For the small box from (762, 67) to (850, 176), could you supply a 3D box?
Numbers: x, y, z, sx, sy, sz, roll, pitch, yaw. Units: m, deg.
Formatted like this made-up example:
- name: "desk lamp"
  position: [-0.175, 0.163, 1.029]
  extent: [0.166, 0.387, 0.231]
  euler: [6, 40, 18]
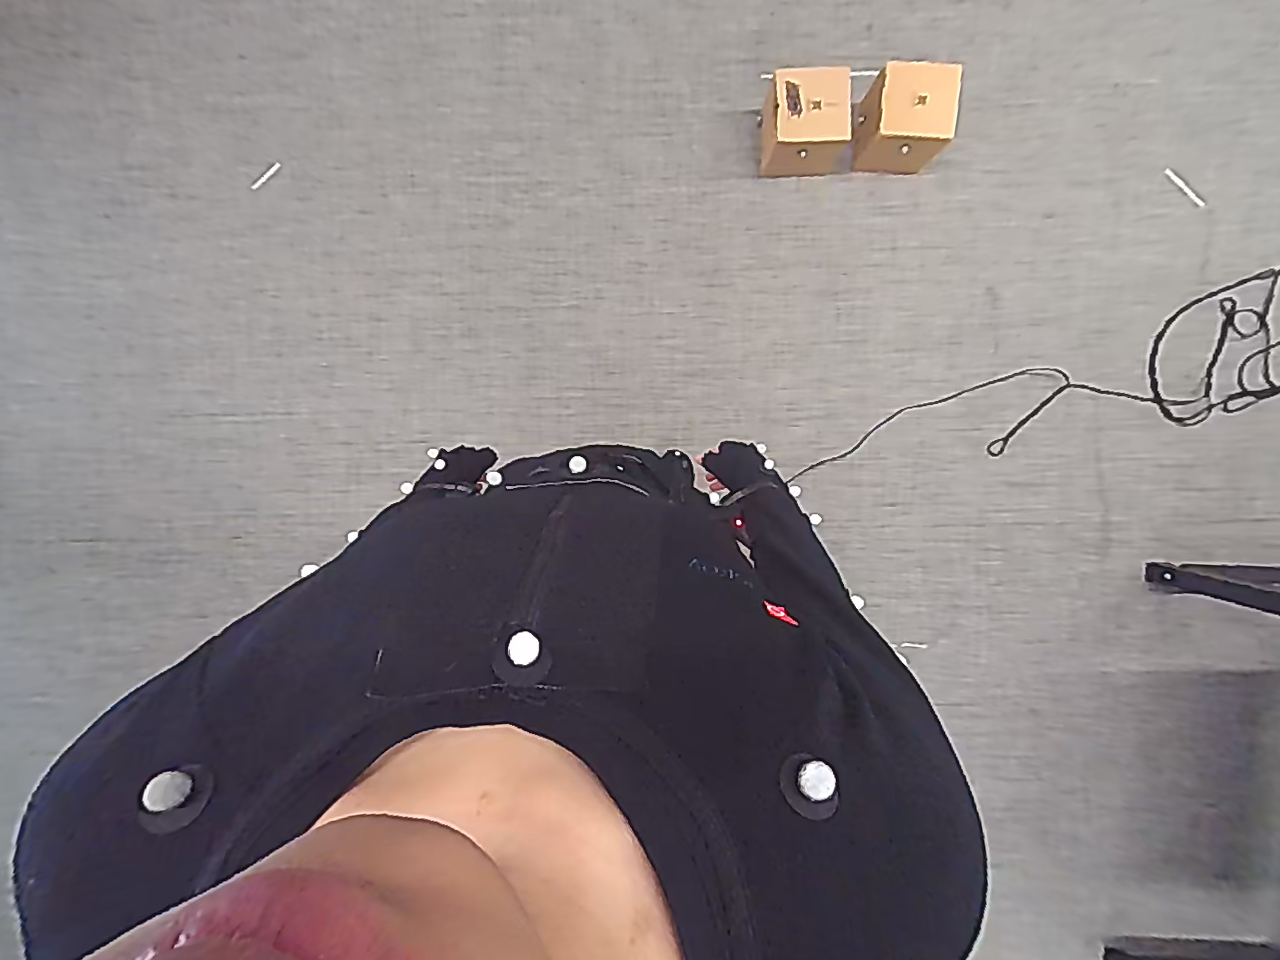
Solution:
- name: "small box"
  position: [0.399, -0.870, 1.326]
  extent: [0.179, 0.176, 0.168]
  euler: [-1, 94, 0]

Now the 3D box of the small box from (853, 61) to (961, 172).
- name: "small box"
  position: [0.644, -0.878, 1.322]
  extent: [0.179, 0.176, 0.168]
  euler: [4, 94, 2]
